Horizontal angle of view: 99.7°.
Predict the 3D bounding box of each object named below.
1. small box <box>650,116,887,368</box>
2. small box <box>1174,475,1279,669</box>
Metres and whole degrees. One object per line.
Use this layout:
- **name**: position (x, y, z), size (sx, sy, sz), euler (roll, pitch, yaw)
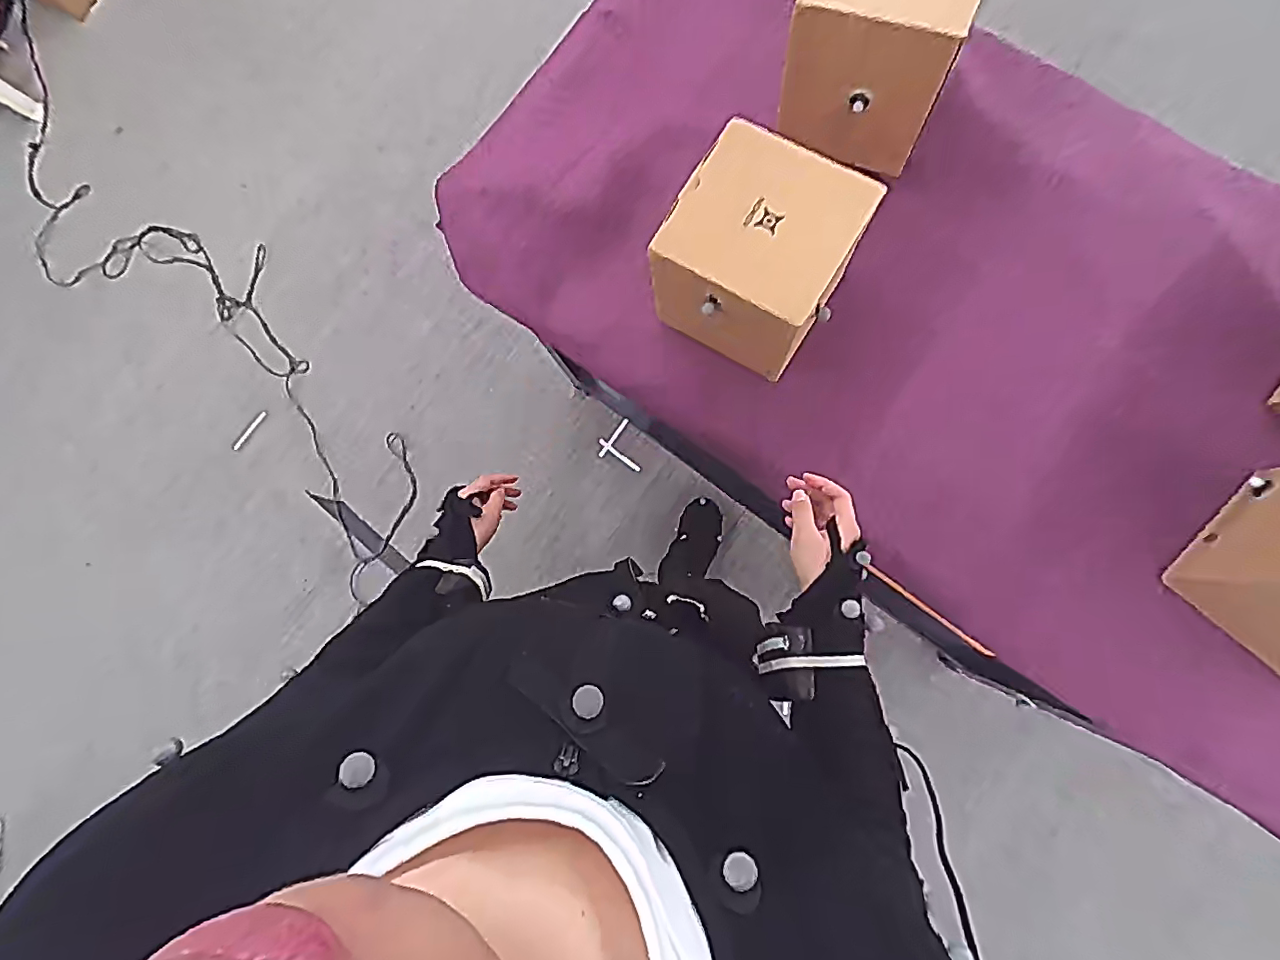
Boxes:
- **small box**: position (0.133, -0.246, 0.606), size (0.179, 0.176, 0.168), euler (32, 86, 10)
- **small box**: position (0.672, 0.091, 0.493), size (0.179, 0.176, 0.168), euler (43, 88, 10)
